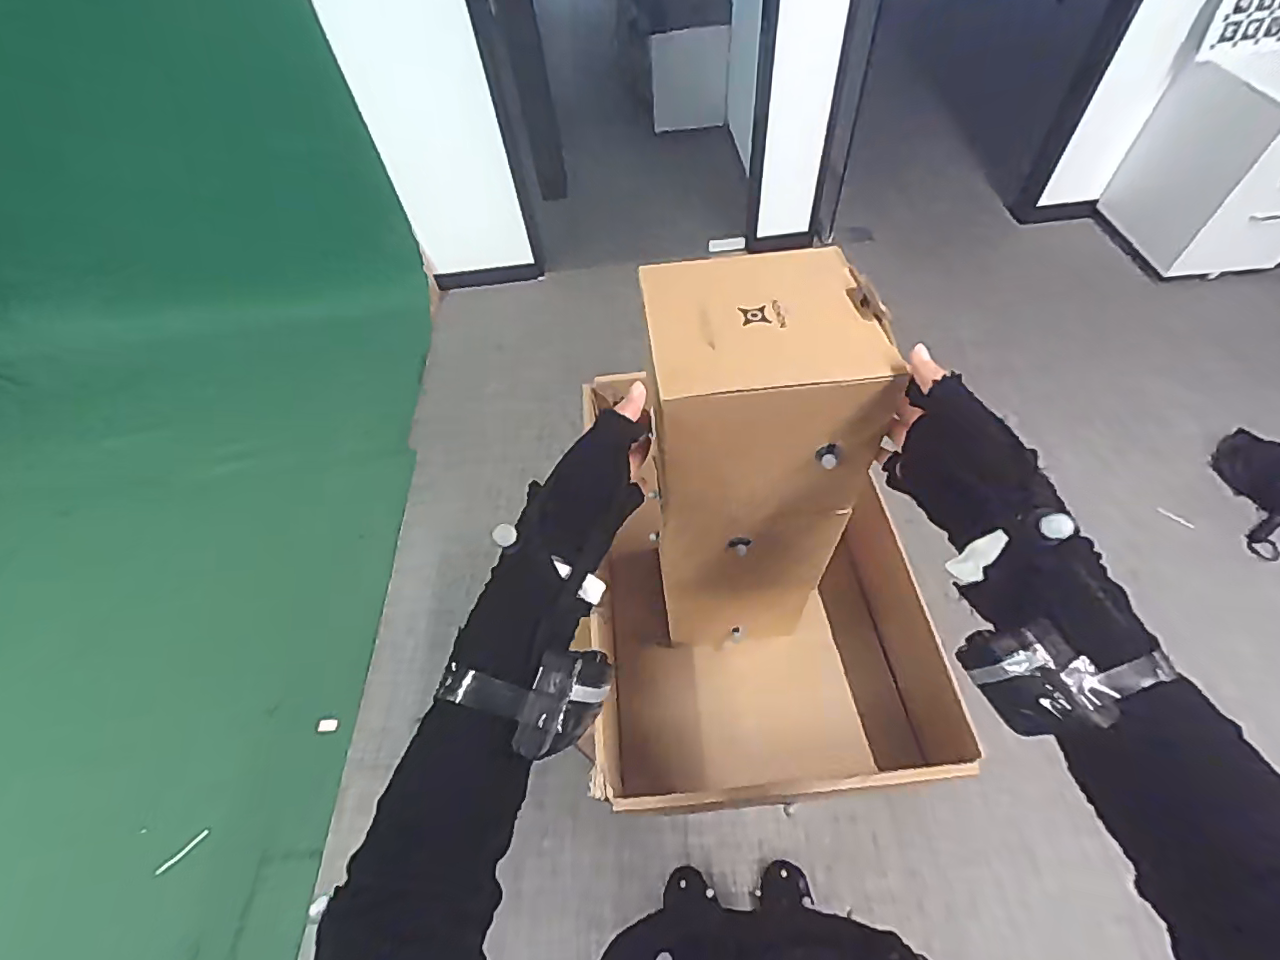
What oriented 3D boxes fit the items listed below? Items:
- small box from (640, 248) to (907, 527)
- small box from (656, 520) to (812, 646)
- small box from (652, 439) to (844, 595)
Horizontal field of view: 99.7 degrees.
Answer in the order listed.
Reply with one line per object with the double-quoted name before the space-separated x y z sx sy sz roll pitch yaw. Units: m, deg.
"small box" 0.097 -0.076 0.479 0.179 0.176 0.168 -7 51 0
"small box" 0.115 0.115 0.744 0.179 0.176 0.168 -5 52 0
"small box" 0.106 0.021 0.610 0.179 0.176 0.168 -3 53 1
